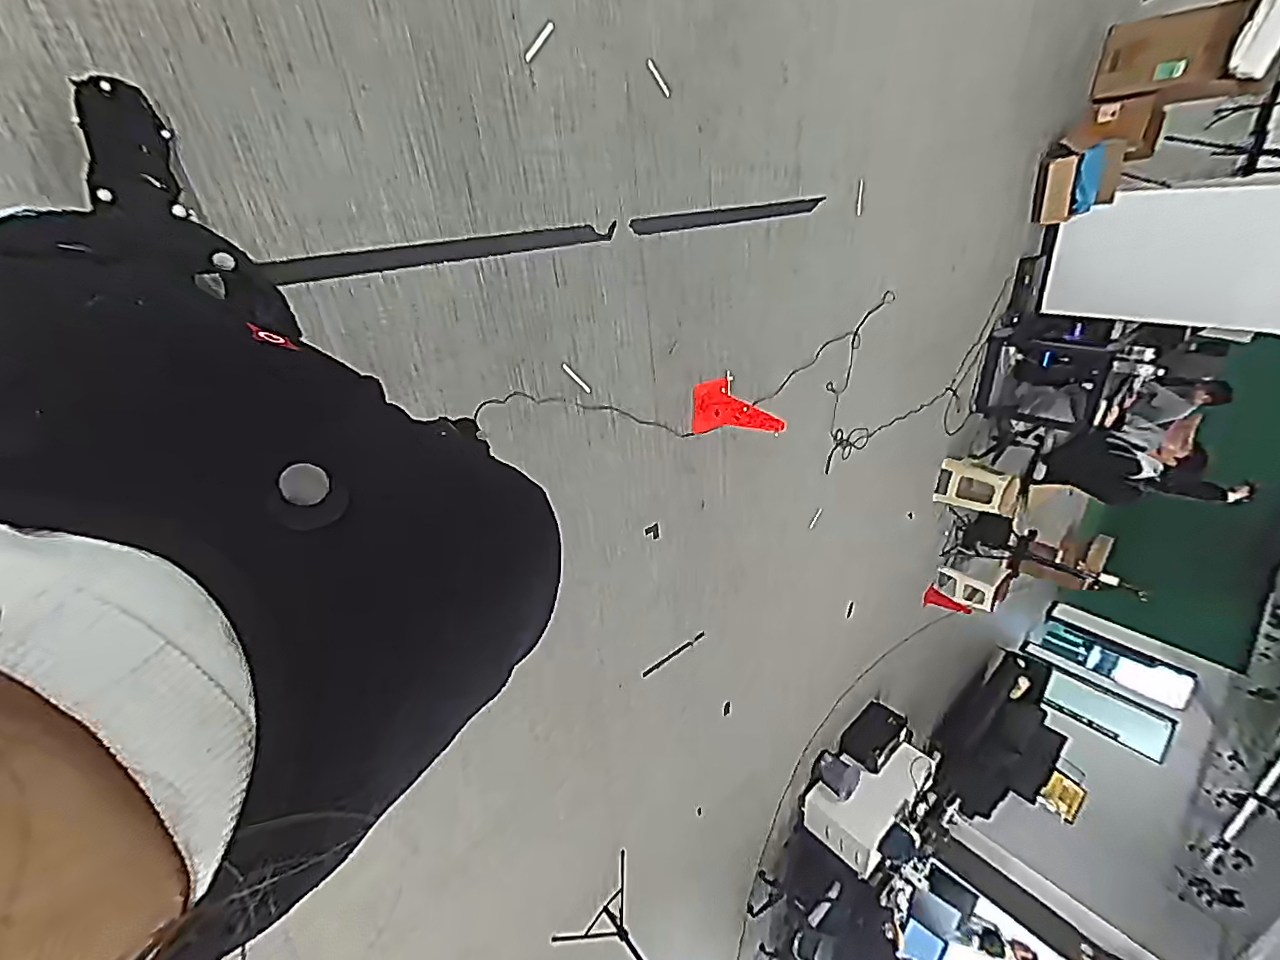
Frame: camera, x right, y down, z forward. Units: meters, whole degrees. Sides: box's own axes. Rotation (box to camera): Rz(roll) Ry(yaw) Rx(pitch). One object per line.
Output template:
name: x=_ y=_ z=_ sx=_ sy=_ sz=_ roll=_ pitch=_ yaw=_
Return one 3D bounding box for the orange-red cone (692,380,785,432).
orange-red cone: x=0.389 y=-0.245 z=2.041 sx=0.199 sy=0.360 sz=0.198 roll=-17 pitch=118 yaw=-35
